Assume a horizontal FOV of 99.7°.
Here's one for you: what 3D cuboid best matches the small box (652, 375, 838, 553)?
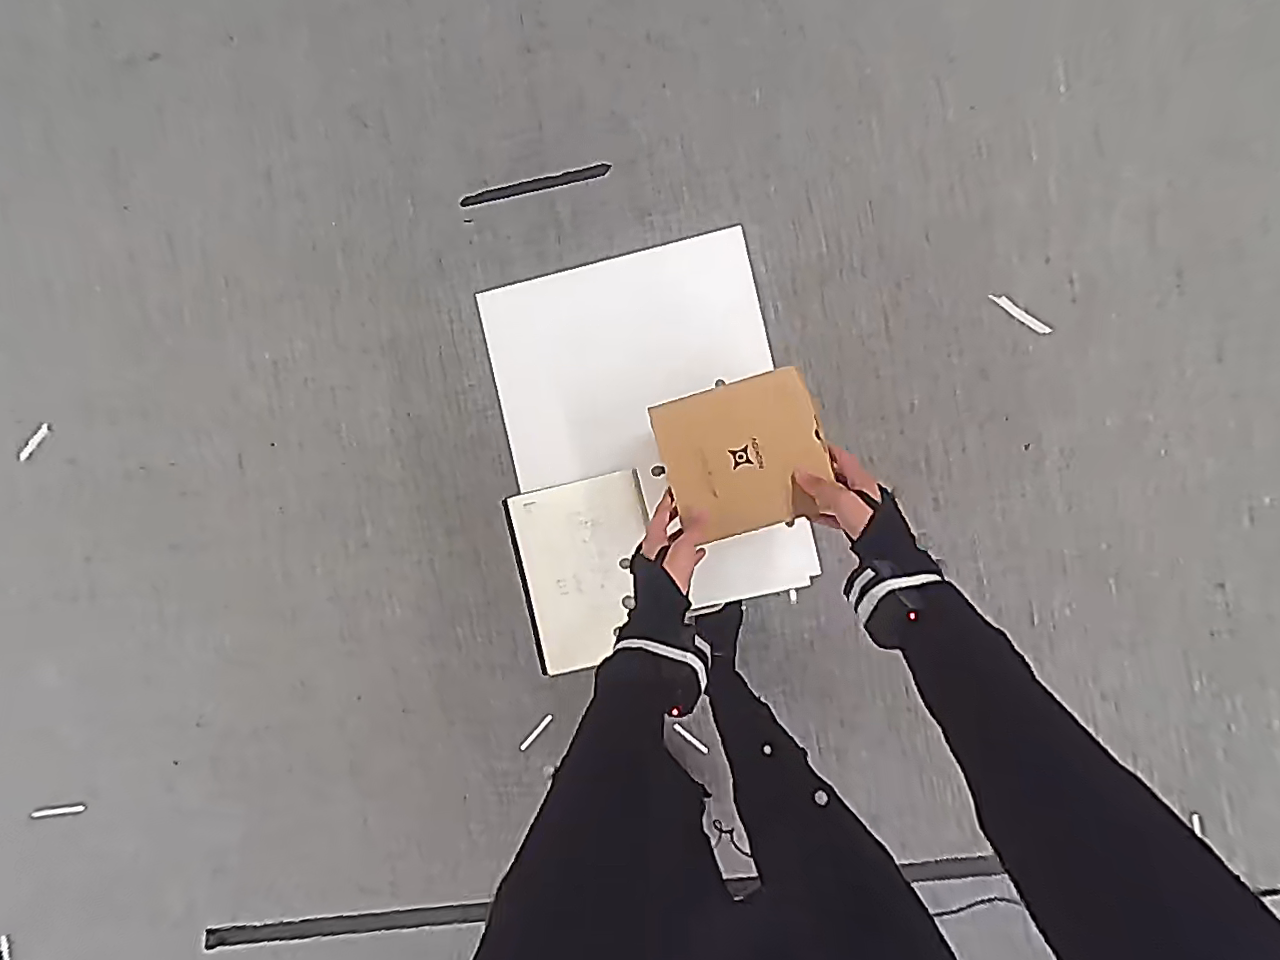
[{"bbox_3d":[0.117,-0.016,0.677,0.179,0.176,0.168,-15,87,1],"label":"small box"}]
